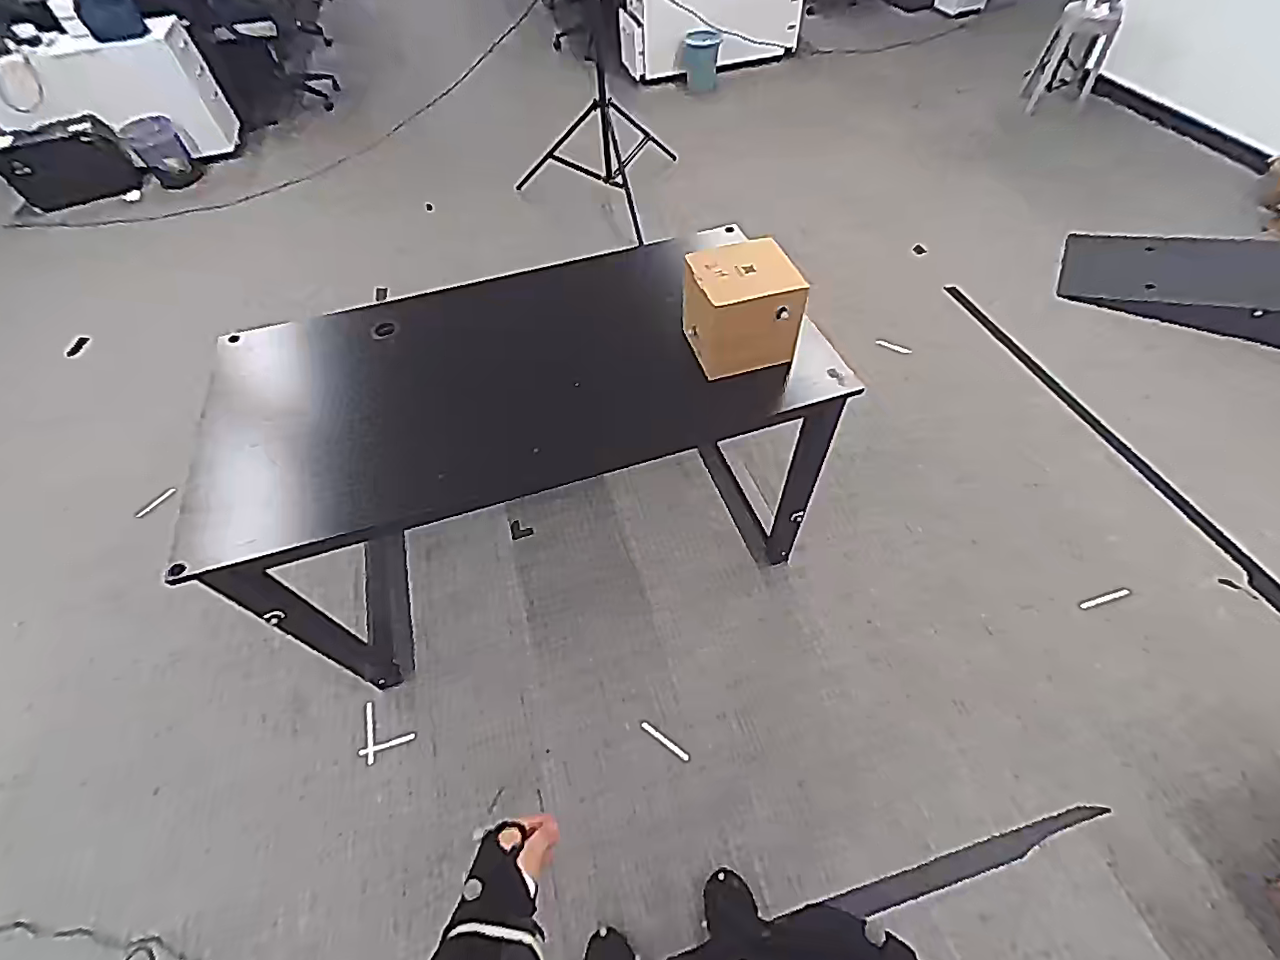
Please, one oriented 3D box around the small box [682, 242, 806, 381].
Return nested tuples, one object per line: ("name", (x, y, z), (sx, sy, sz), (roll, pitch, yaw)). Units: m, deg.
("small box", (0.184, -0.314, 1.019), (0.179, 0.176, 0.168), (-15, 54, -6))
